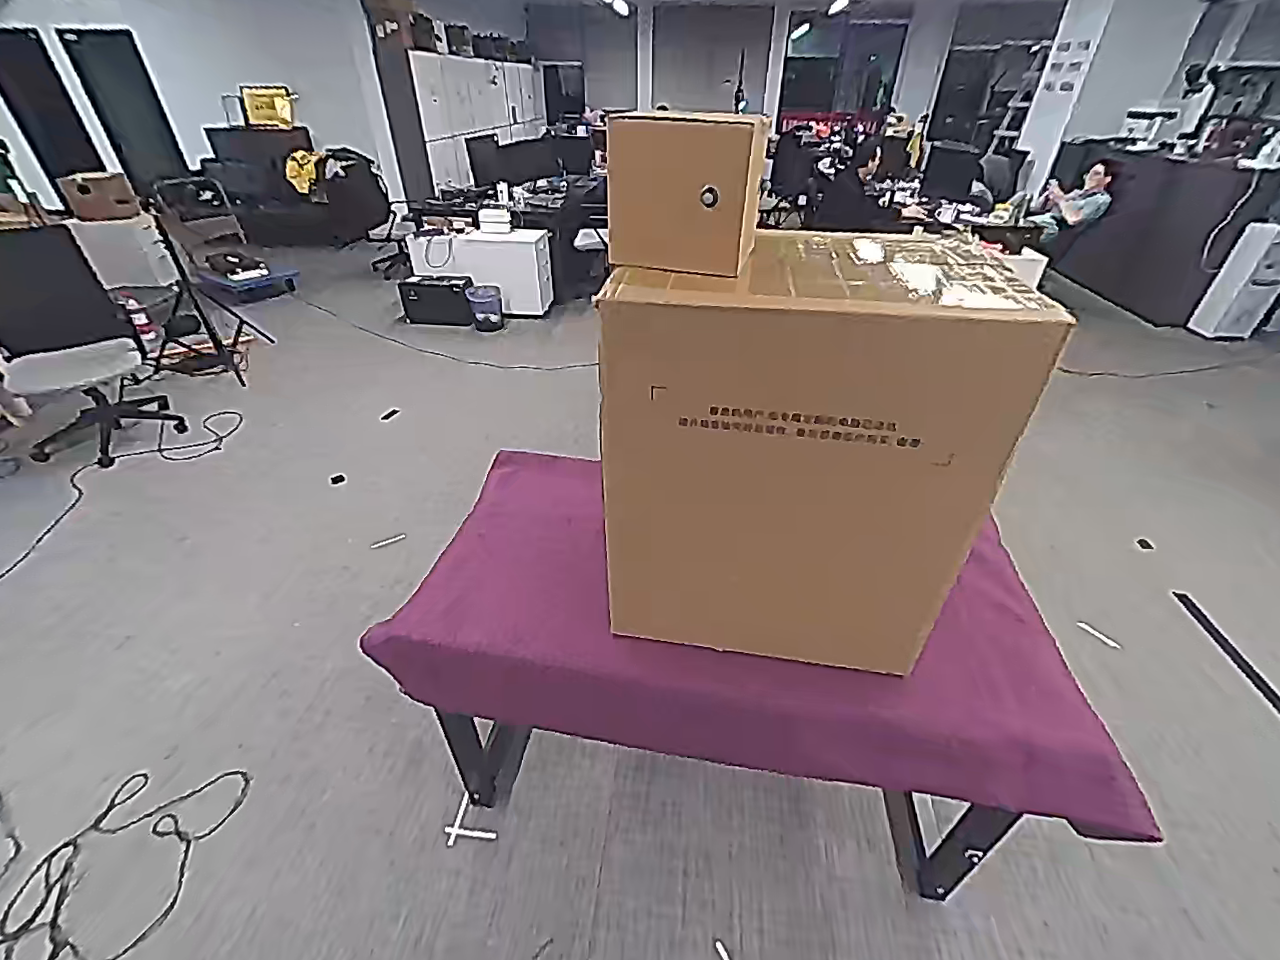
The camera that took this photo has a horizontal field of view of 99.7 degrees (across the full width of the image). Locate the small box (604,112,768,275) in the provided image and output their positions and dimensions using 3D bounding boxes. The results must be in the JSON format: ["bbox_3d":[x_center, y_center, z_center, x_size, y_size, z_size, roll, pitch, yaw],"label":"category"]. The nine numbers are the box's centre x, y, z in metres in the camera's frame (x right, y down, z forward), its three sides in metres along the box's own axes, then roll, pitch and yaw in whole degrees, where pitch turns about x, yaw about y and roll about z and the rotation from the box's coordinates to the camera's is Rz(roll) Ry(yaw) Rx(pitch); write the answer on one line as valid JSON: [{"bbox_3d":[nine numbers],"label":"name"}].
[{"bbox_3d":[0.062,-0.381,0.718,0.179,0.176,0.168,10,37,13],"label":"small box"}]
